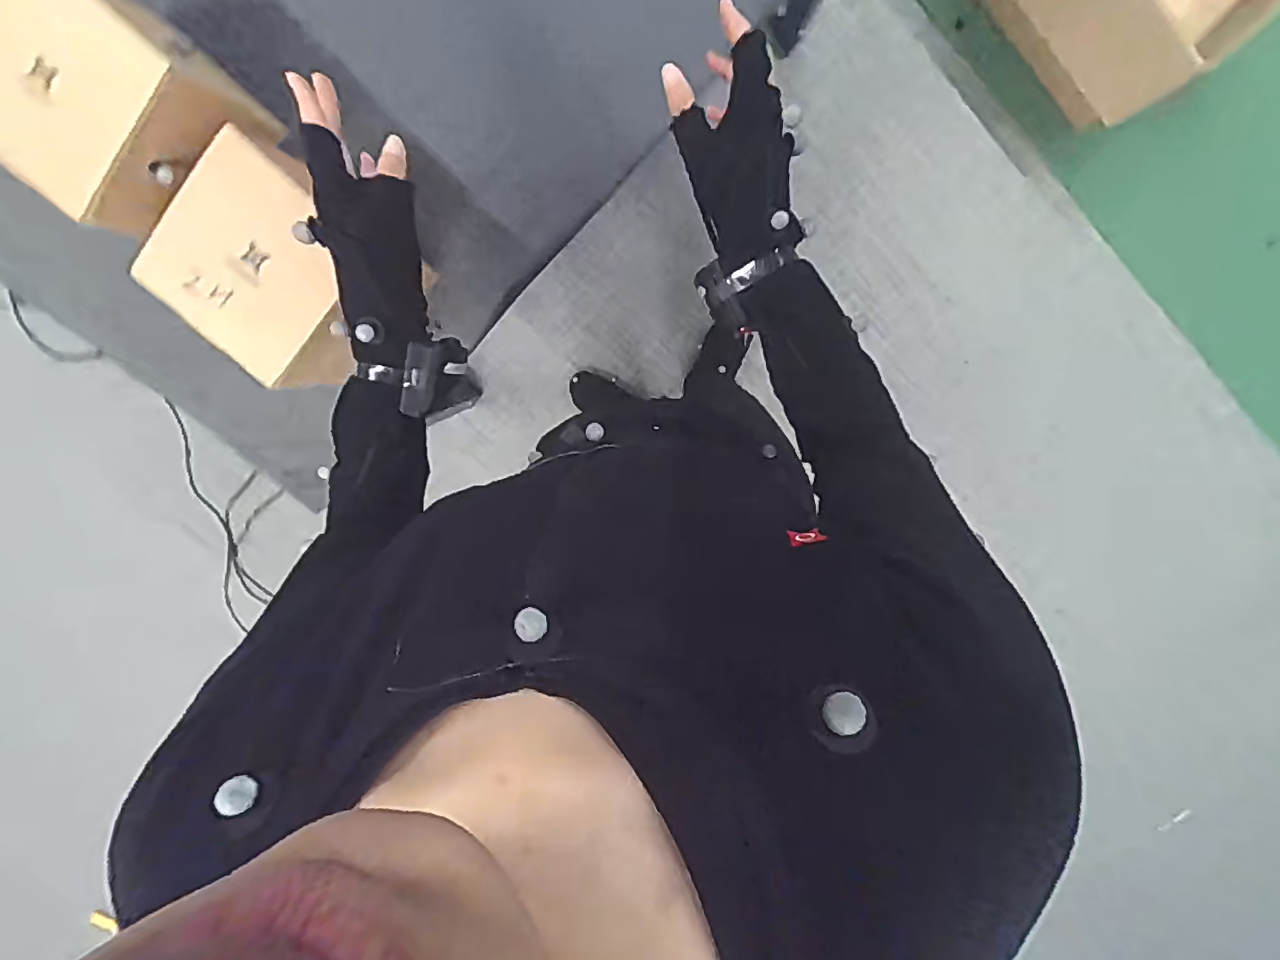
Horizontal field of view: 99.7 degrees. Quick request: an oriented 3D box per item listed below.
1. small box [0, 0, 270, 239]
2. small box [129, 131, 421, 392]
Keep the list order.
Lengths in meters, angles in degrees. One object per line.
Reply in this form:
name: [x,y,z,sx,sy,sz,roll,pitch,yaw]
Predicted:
small box: [-0.531,-0.371,0.554,0.168,0.176,0.179,41,103,-10]
small box: [-0.370,-0.220,0.588,0.168,0.176,0.179,42,101,-8]
